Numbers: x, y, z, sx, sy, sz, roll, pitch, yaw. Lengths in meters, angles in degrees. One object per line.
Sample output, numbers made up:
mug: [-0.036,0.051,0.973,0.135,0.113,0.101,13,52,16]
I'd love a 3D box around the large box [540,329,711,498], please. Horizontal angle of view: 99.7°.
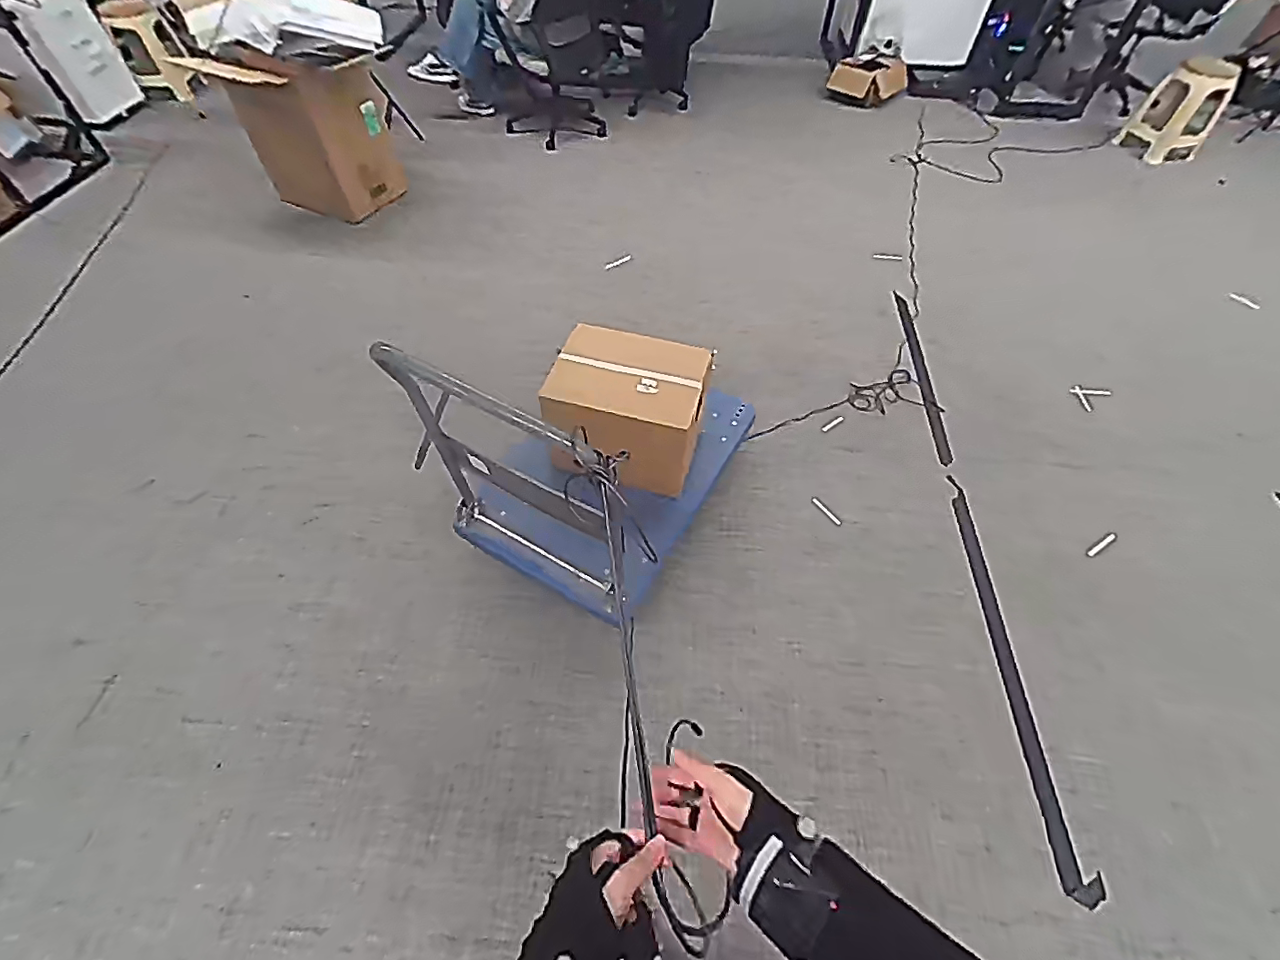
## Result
large box: [-0.036,-0.191,1.573,0.408,0.320,0.320,14,55,8]
